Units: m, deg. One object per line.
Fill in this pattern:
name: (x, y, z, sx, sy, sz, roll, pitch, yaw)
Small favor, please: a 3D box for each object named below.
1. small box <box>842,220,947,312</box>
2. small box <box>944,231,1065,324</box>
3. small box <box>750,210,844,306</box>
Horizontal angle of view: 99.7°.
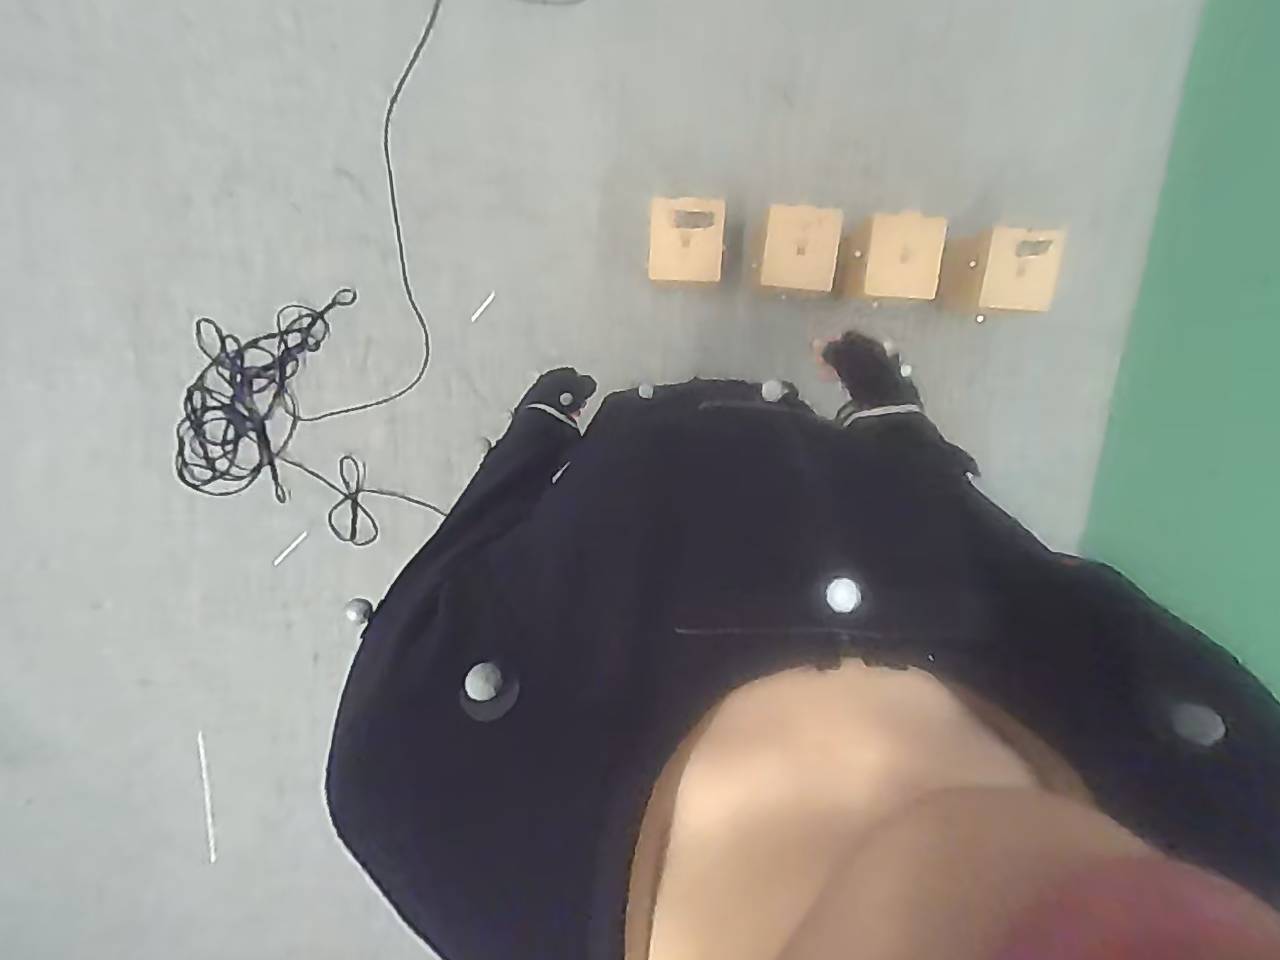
small box: (0.597, -0.502, 1.294, 0.168, 0.176, 0.179, 3, 100, 0)
small box: (0.859, -0.476, 1.293, 0.168, 0.176, 0.179, 4, 101, 0)
small box: (0.365, -0.521, 1.292, 0.168, 0.176, 0.179, 5, 100, 0)
